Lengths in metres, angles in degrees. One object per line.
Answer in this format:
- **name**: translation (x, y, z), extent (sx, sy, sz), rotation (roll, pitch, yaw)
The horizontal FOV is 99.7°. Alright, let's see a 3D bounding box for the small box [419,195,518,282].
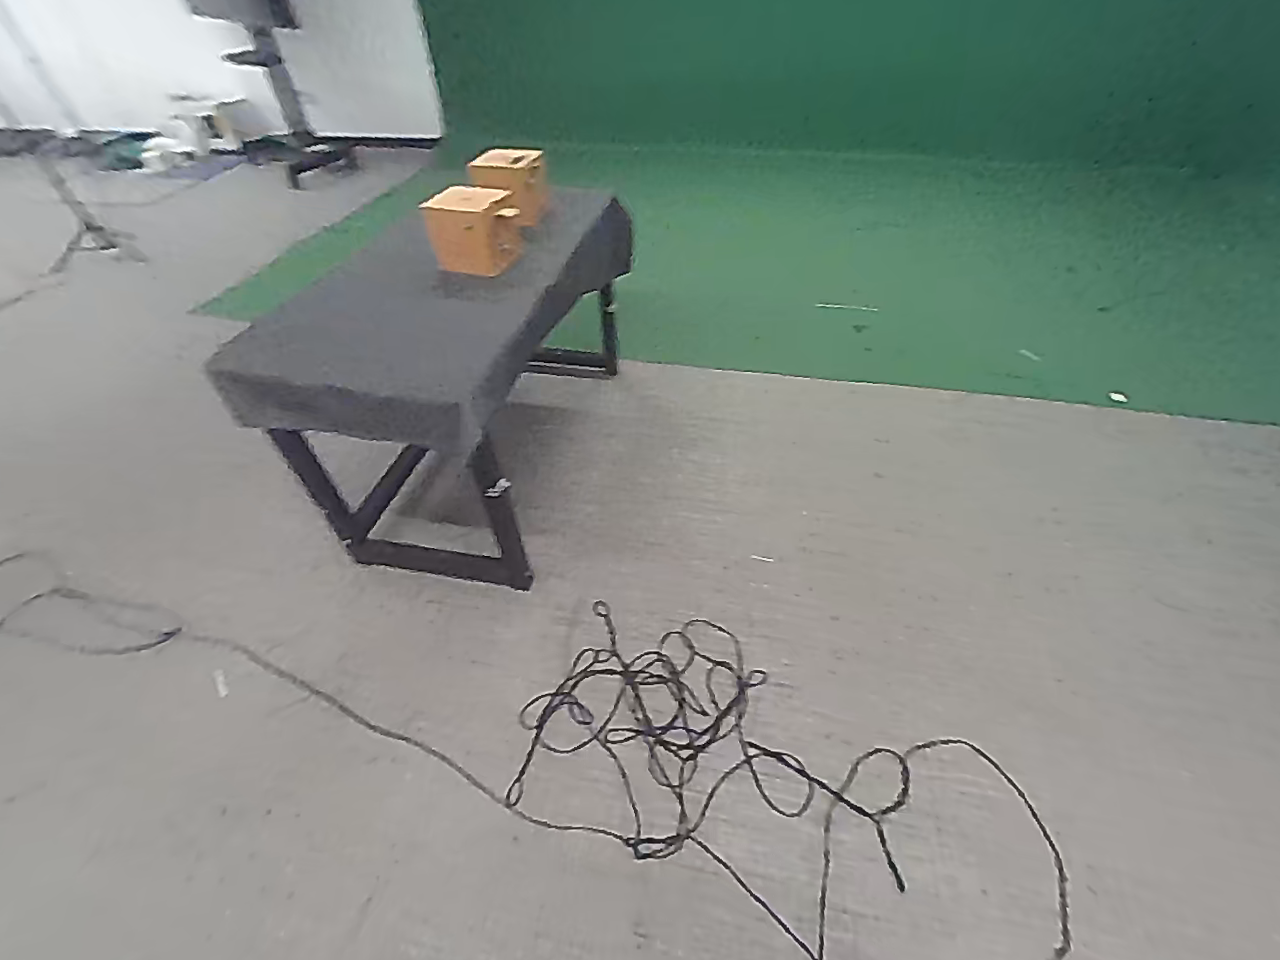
- **small box**: translation (-0.454, -0.652, 1.460), extent (0.179, 0.176, 0.168), rotation (12, 46, 13)
